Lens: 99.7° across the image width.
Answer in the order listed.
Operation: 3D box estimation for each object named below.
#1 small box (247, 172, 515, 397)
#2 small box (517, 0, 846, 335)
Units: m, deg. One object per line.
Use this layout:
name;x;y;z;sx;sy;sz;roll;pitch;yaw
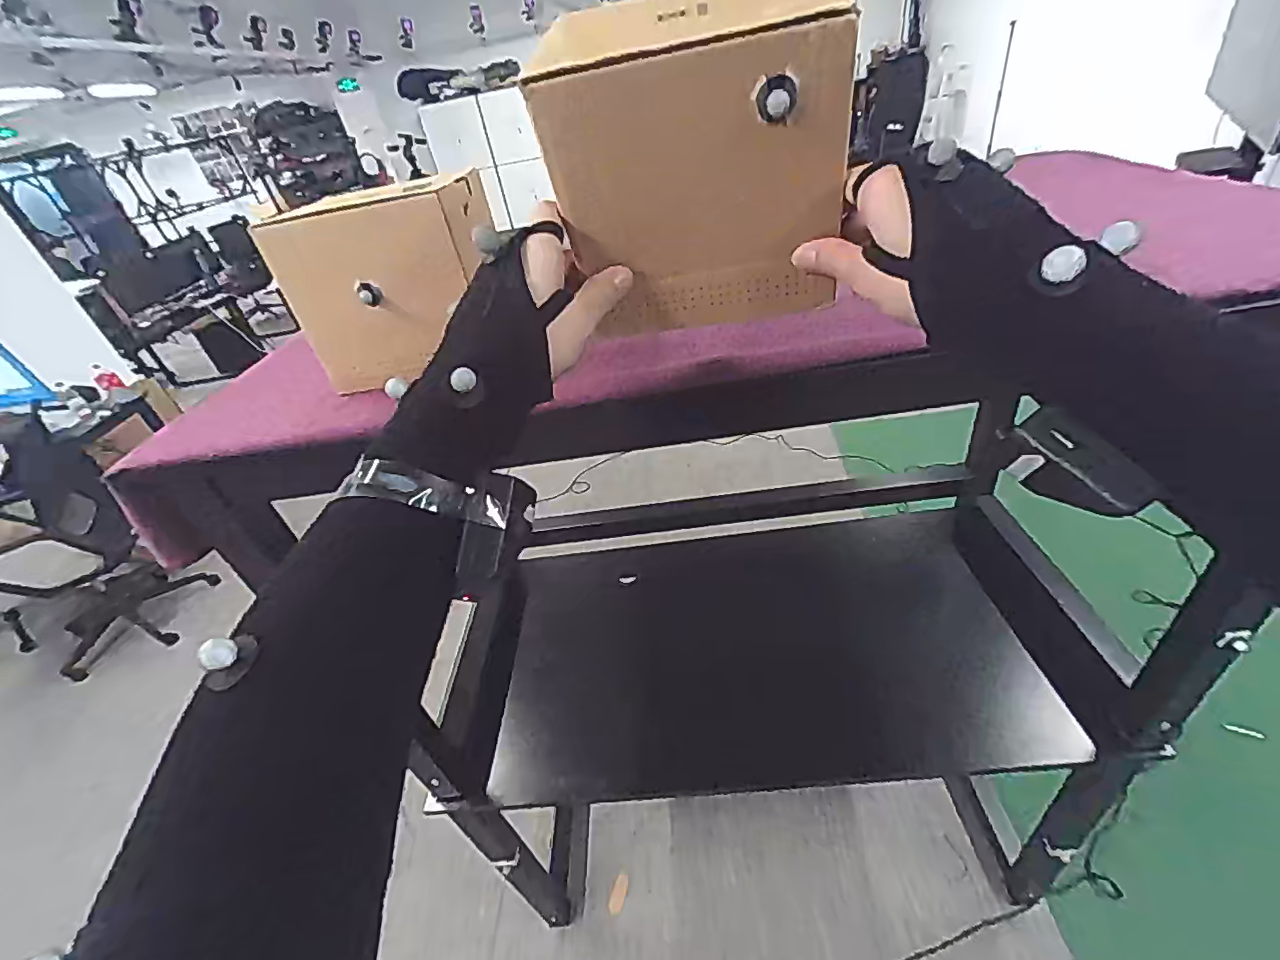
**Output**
small box;-0.247;-0.207;0.574;0.179;0.176;0.168;-10;35;5
small box;0.036;-0.221;0.388;0.179;0.176;0.168;-5;49;9
